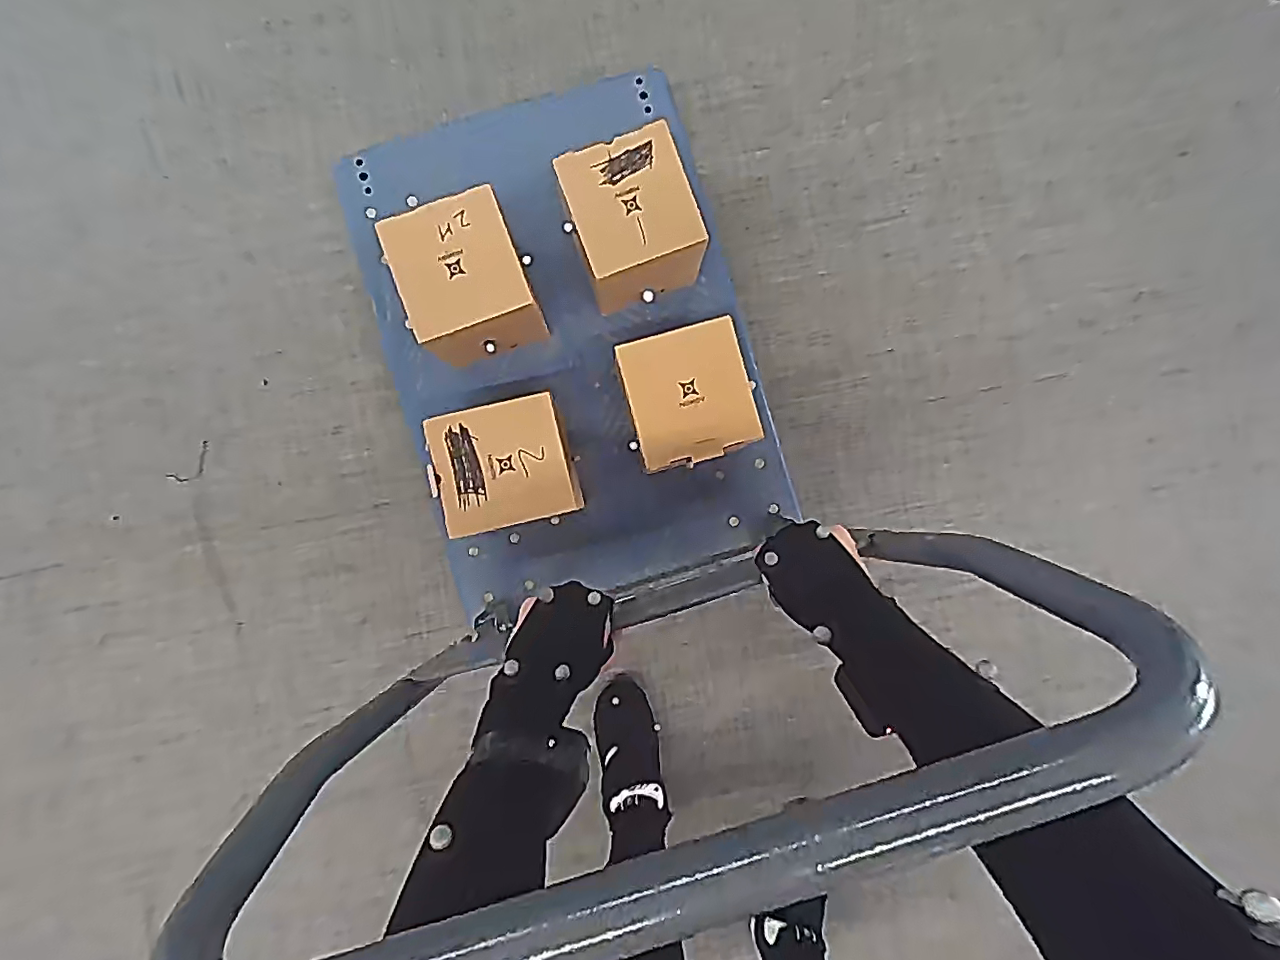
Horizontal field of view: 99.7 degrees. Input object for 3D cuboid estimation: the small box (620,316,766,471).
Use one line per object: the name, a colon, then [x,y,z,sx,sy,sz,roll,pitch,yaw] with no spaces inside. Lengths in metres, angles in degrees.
small box: [0.068,-0.118,0.806,0.168,0.176,0.179,-15,90,-1]

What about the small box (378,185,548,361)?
small box: [-0.246,-0.288,0.800,0.168,0.176,0.179,-20,90,-2]

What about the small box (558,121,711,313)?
small box: [-0.010,-0.377,0.805,0.168,0.176,0.179,-20,91,0]
